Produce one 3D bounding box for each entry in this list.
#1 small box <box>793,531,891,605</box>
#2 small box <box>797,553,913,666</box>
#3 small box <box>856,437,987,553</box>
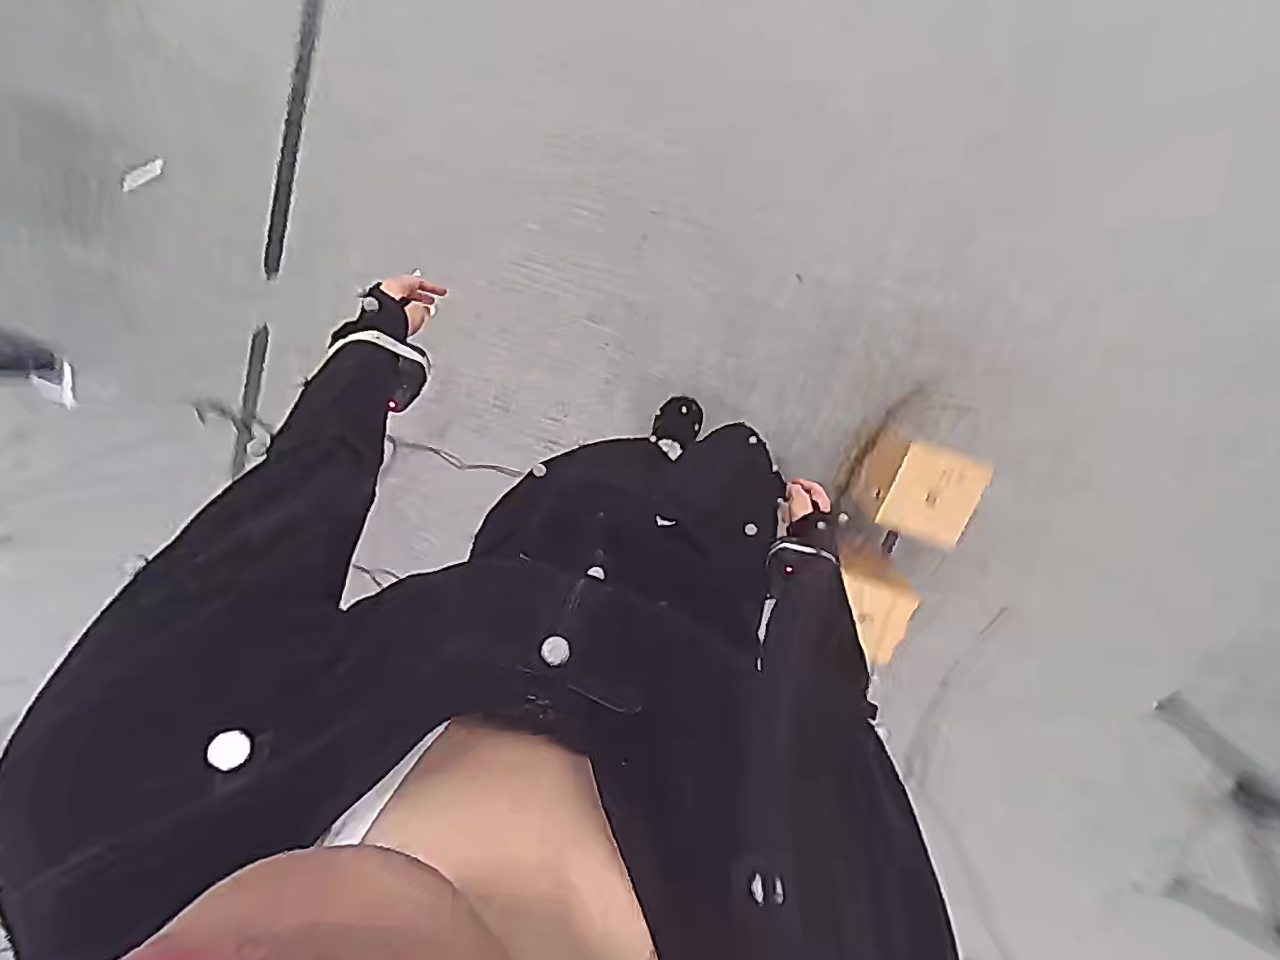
[{"bbox_3d":[0.506,0.255,1.383,0.168,0.176,0.179,22,104,3],"label":"small box"},{"bbox_3d":[0.473,0.282,1.226,0.179,0.176,0.168,19,105,3],"label":"small box"},{"bbox_3d":[0.581,0.024,1.149,0.168,0.176,0.179,22,105,2],"label":"small box"}]
